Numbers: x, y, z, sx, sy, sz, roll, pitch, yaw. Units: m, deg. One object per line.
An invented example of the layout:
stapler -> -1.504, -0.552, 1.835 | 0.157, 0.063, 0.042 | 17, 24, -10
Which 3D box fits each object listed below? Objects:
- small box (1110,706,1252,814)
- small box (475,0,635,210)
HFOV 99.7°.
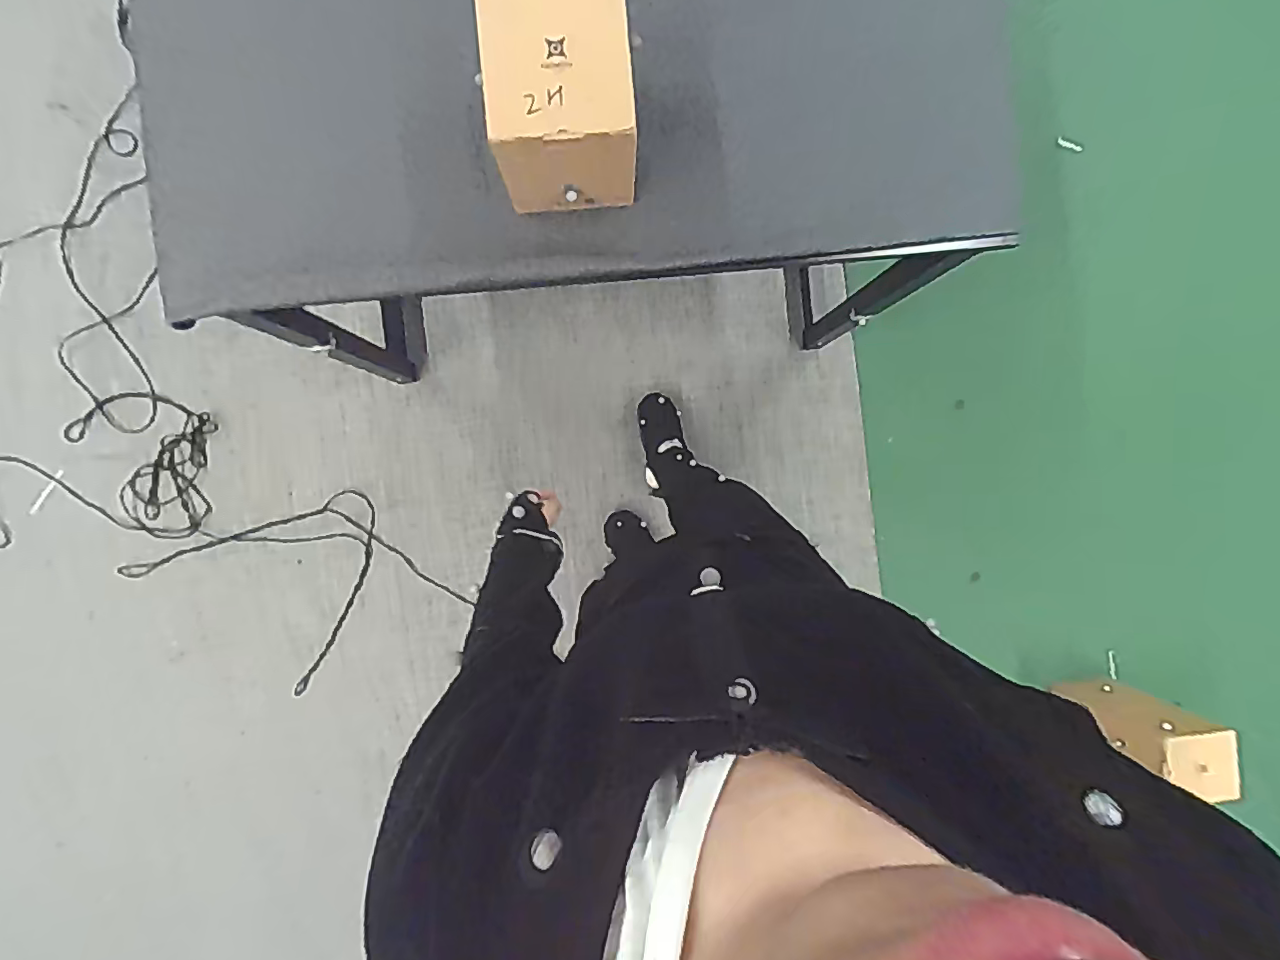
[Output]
small box -> 1.292, 0.662, 1.300 | 0.179, 0.176, 0.168 | -6, 91, -2
small box -> -0.096, -0.464, 0.667 | 0.168, 0.176, 0.179 | -5, 91, -2
